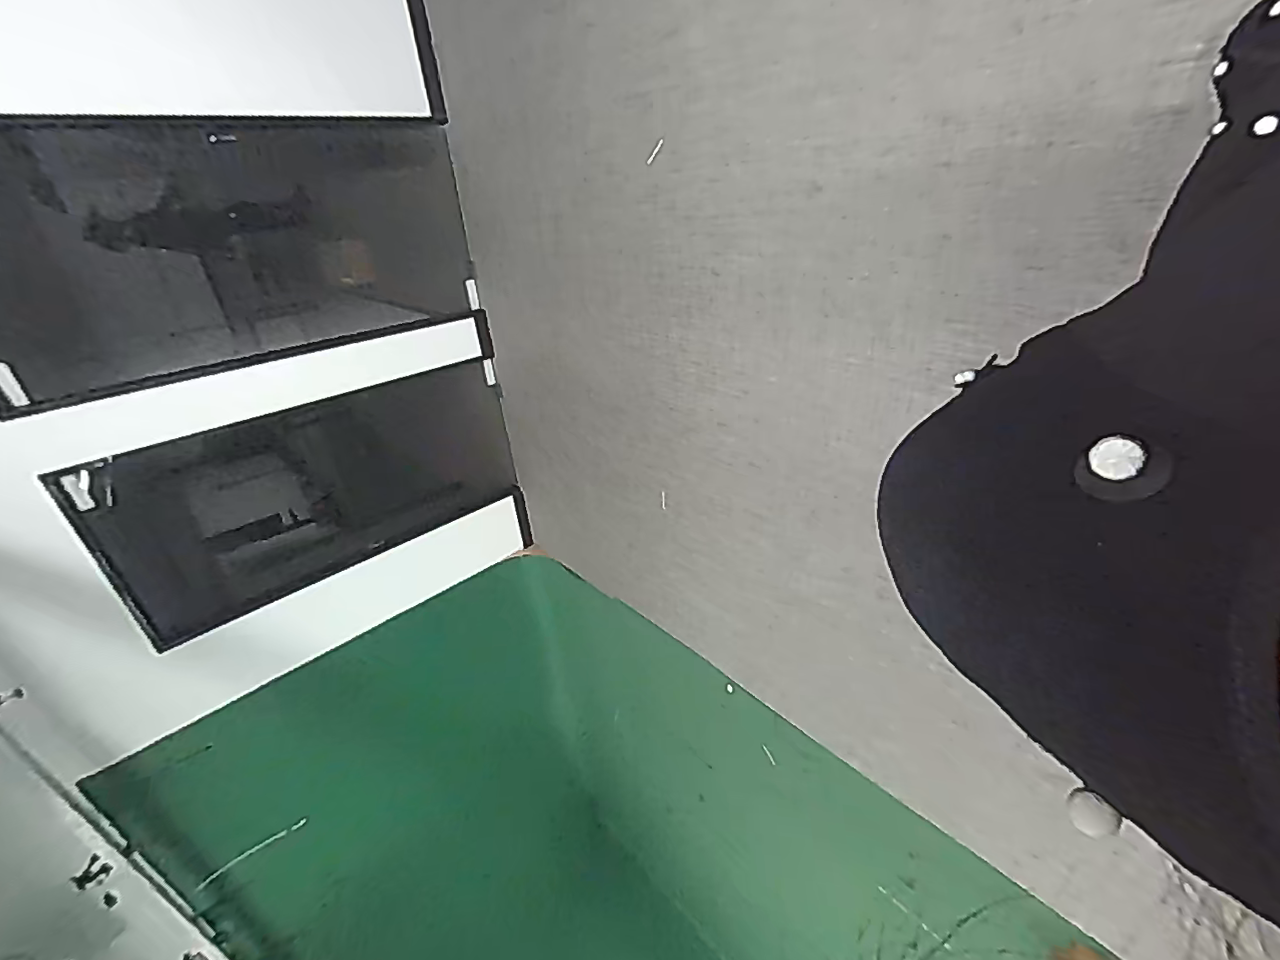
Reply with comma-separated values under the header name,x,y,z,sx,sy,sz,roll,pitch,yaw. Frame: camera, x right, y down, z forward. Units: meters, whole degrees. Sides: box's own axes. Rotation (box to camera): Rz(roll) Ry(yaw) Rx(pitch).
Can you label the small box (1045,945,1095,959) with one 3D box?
name,x,y,z,sx,sy,sz,roll,pitch,yaw
small box,1.412,1.644,1.732,0.168,0.176,0.179,40,139,31
